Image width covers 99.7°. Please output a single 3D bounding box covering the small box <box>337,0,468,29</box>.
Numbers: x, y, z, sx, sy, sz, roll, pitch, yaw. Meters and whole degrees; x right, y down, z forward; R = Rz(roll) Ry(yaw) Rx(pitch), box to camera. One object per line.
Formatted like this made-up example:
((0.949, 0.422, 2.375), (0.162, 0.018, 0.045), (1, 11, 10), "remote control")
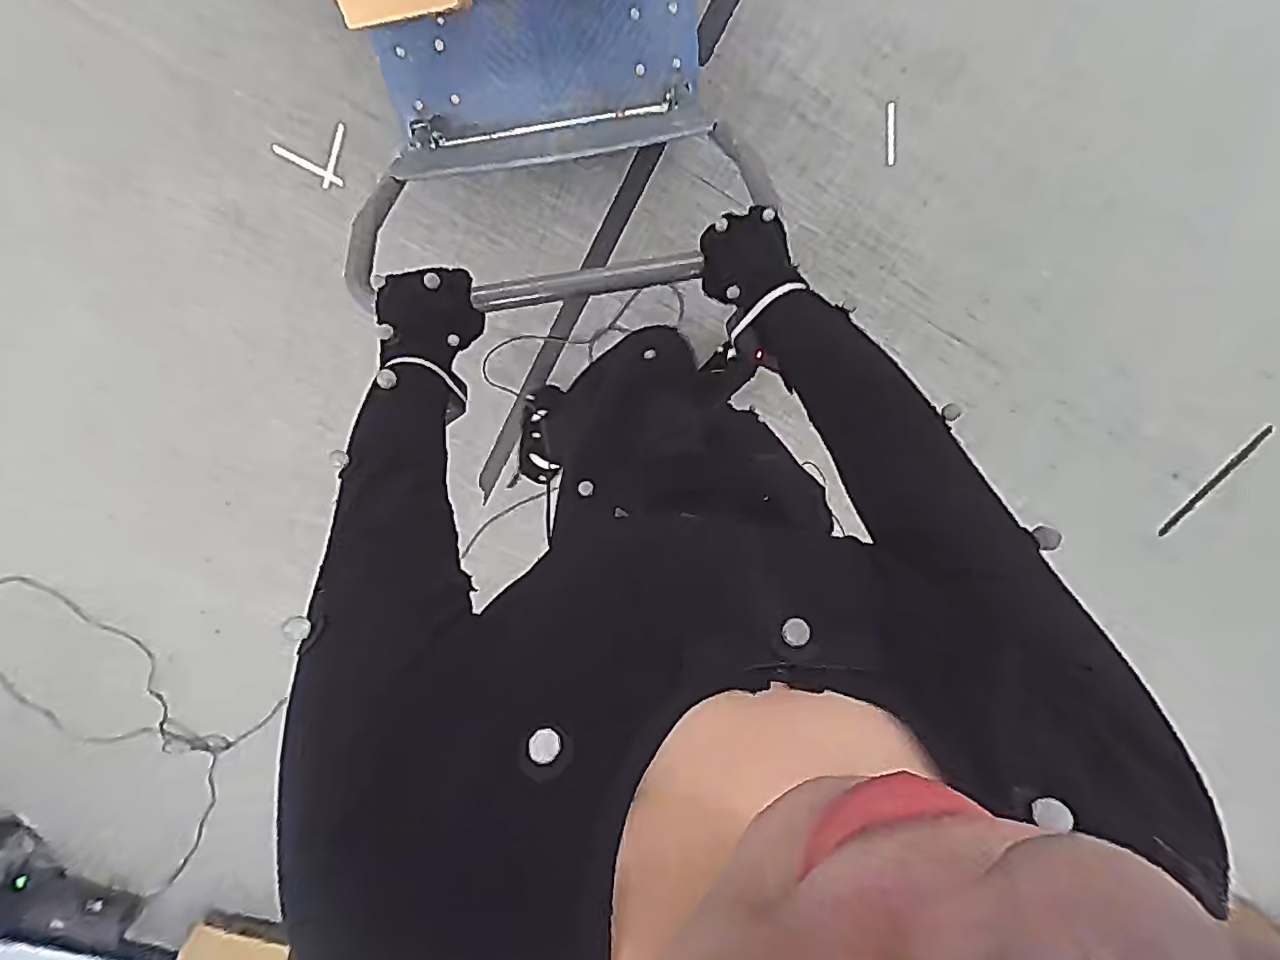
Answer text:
((-0.376, -0.803, 0.817), (0.179, 0.176, 0.168), (-13, 131, 1), "small box")
